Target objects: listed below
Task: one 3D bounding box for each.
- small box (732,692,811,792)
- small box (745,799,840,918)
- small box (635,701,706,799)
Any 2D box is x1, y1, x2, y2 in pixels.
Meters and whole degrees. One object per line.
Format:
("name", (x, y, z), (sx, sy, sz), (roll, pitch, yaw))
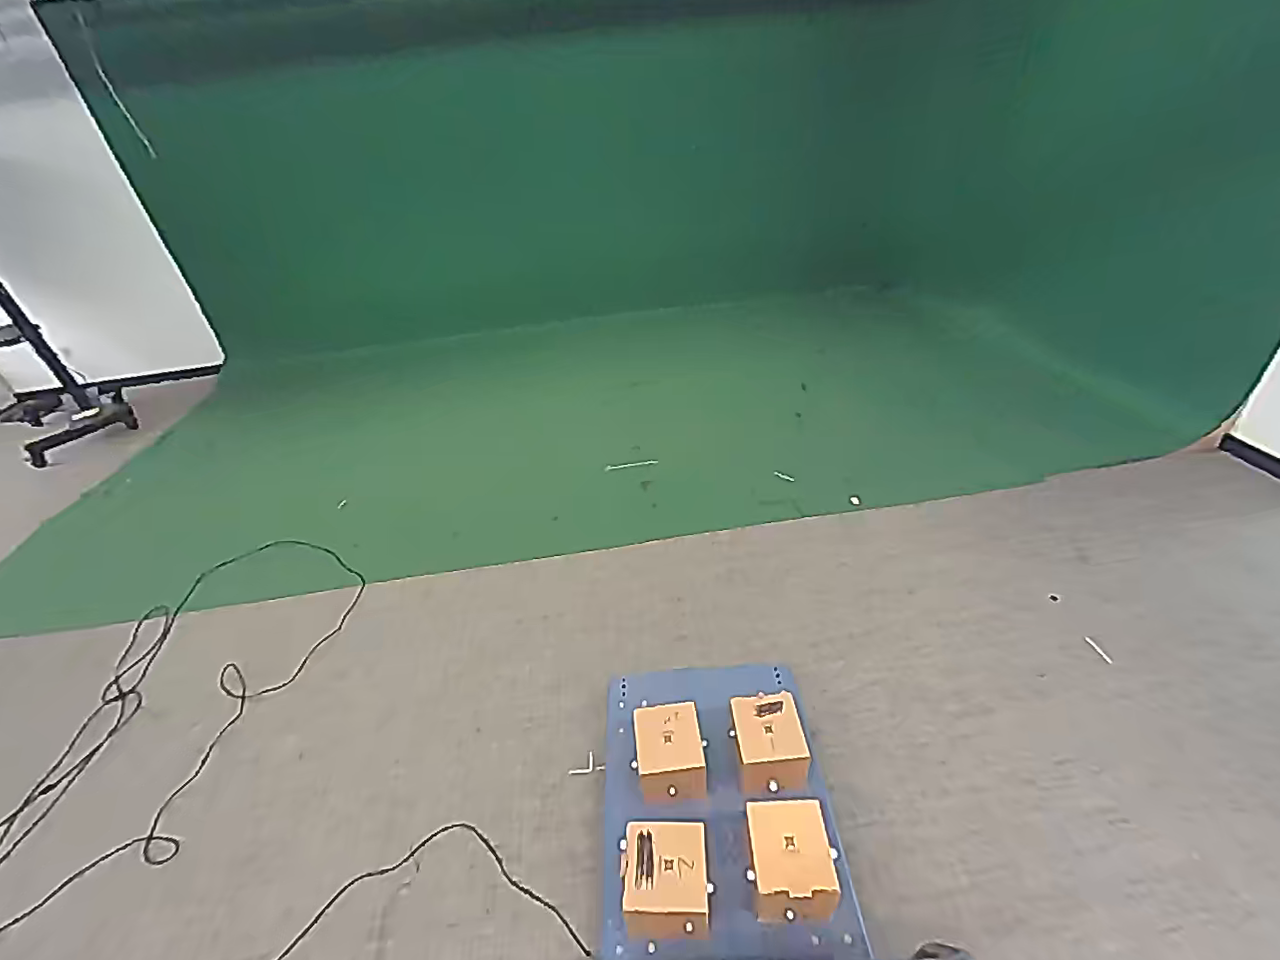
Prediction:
("small box", (0.335, 0.685, 1.416), (0.168, 0.176, 0.179), (-7, 37, 1))
("small box", (0.330, 0.842, 1.206), (0.168, 0.176, 0.179), (-4, 36, 3))
("small box", (0.079, 0.713, 1.420), (0.168, 0.176, 0.179), (-6, 36, -1))
